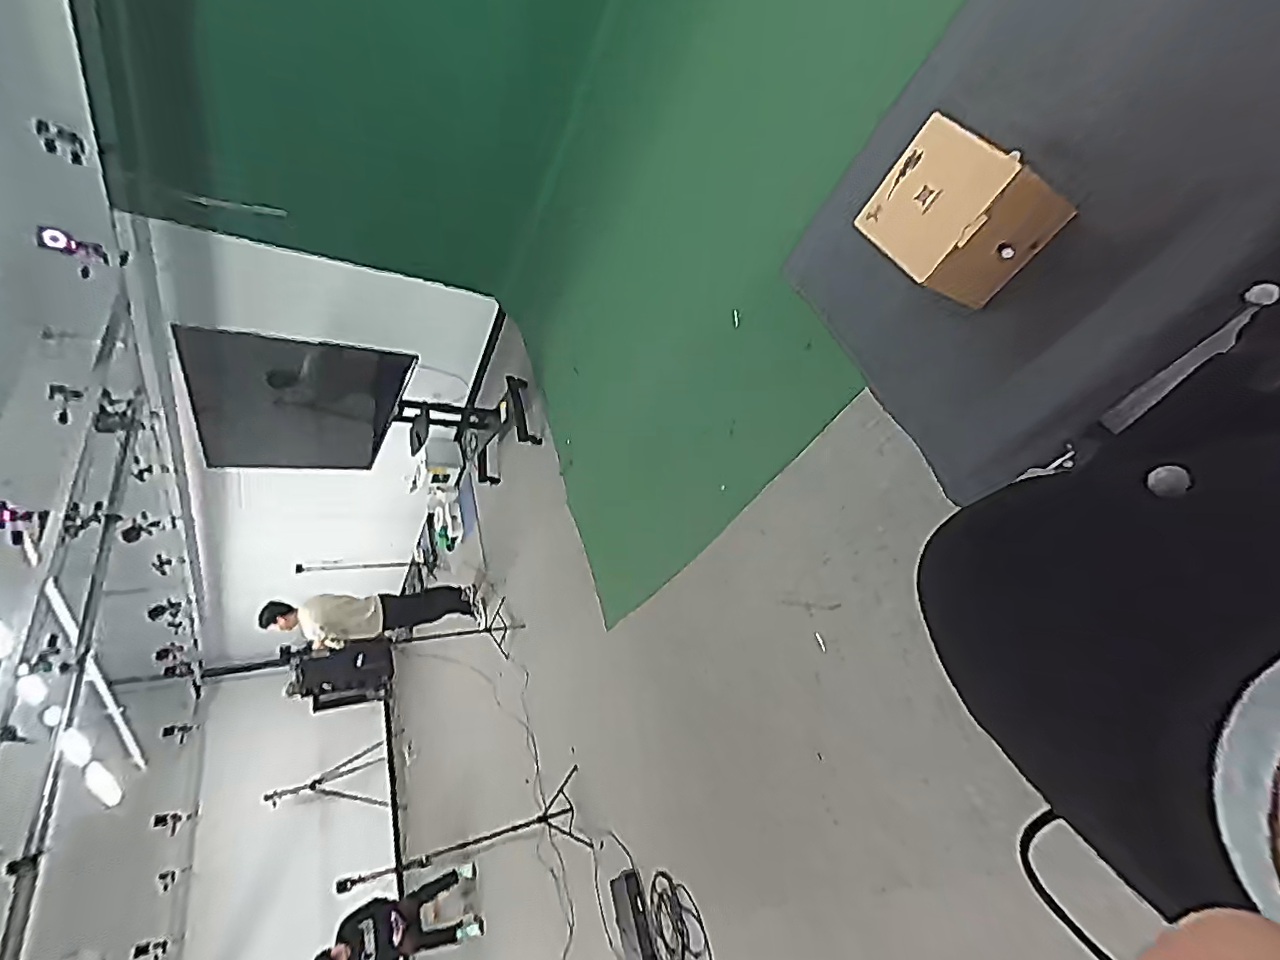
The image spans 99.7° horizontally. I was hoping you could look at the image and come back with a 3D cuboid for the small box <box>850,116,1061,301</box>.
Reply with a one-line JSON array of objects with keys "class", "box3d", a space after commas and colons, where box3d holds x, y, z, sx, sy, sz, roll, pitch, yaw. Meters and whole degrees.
[{"class": "small box", "box3d": [0.458, -0.384, 0.791, 0.168, 0.176, 0.179, -56, 46, 38]}]
